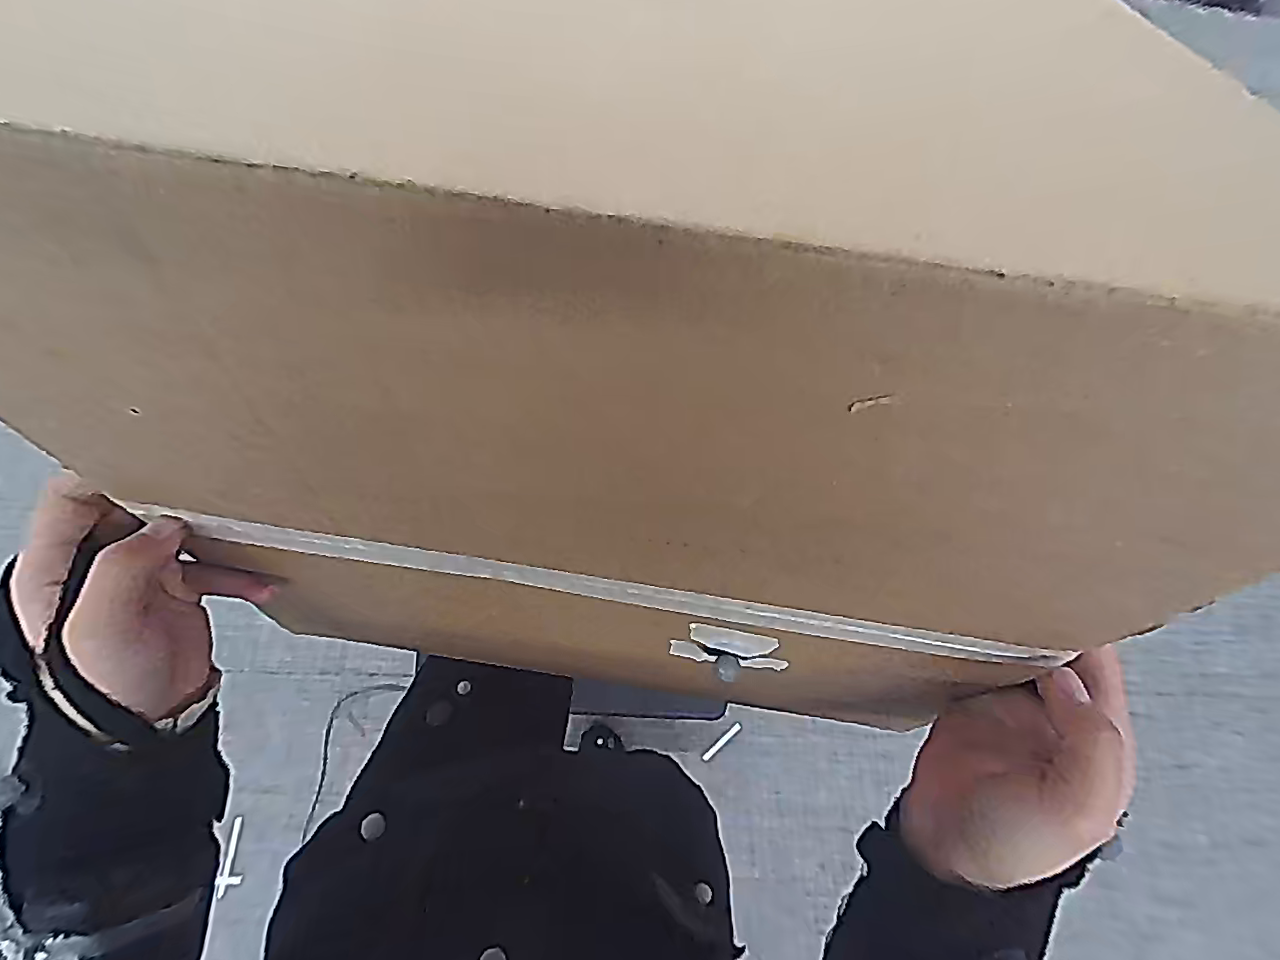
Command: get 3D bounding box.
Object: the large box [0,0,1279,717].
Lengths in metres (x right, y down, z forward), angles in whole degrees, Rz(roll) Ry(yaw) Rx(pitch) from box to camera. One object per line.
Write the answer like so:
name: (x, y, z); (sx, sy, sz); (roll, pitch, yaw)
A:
large box: (-0.001, -0.080, 0.326); (0.408, 0.320, 0.320); (8, 55, 1)
